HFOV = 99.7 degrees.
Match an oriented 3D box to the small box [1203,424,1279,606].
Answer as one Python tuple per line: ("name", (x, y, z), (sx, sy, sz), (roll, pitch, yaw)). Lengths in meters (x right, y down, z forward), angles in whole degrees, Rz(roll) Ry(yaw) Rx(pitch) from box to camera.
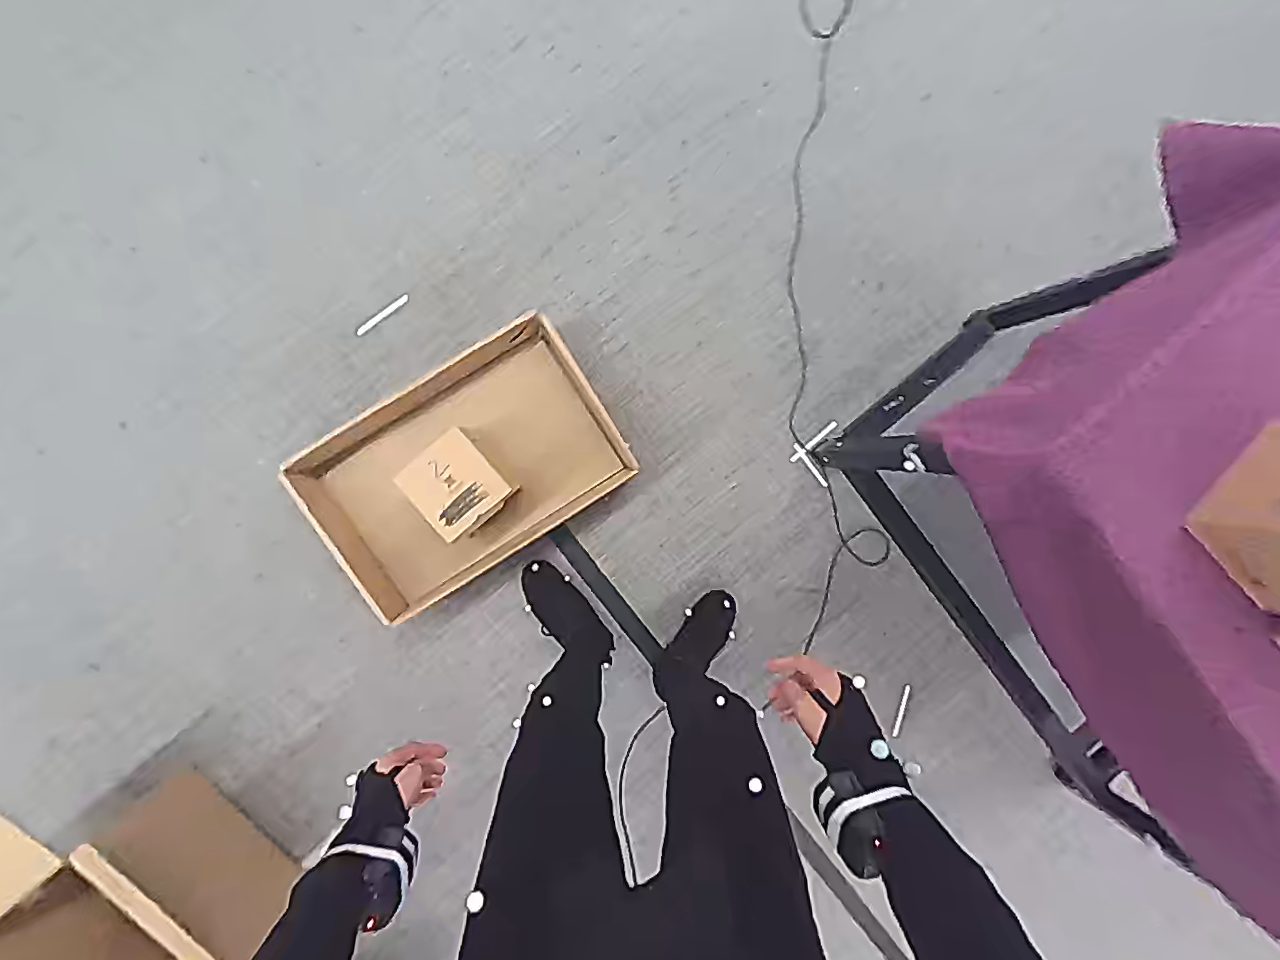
("small box", (0.789, 0.046, 0.589), (0.168, 0.176, 0.179), (44, 87, -7))
